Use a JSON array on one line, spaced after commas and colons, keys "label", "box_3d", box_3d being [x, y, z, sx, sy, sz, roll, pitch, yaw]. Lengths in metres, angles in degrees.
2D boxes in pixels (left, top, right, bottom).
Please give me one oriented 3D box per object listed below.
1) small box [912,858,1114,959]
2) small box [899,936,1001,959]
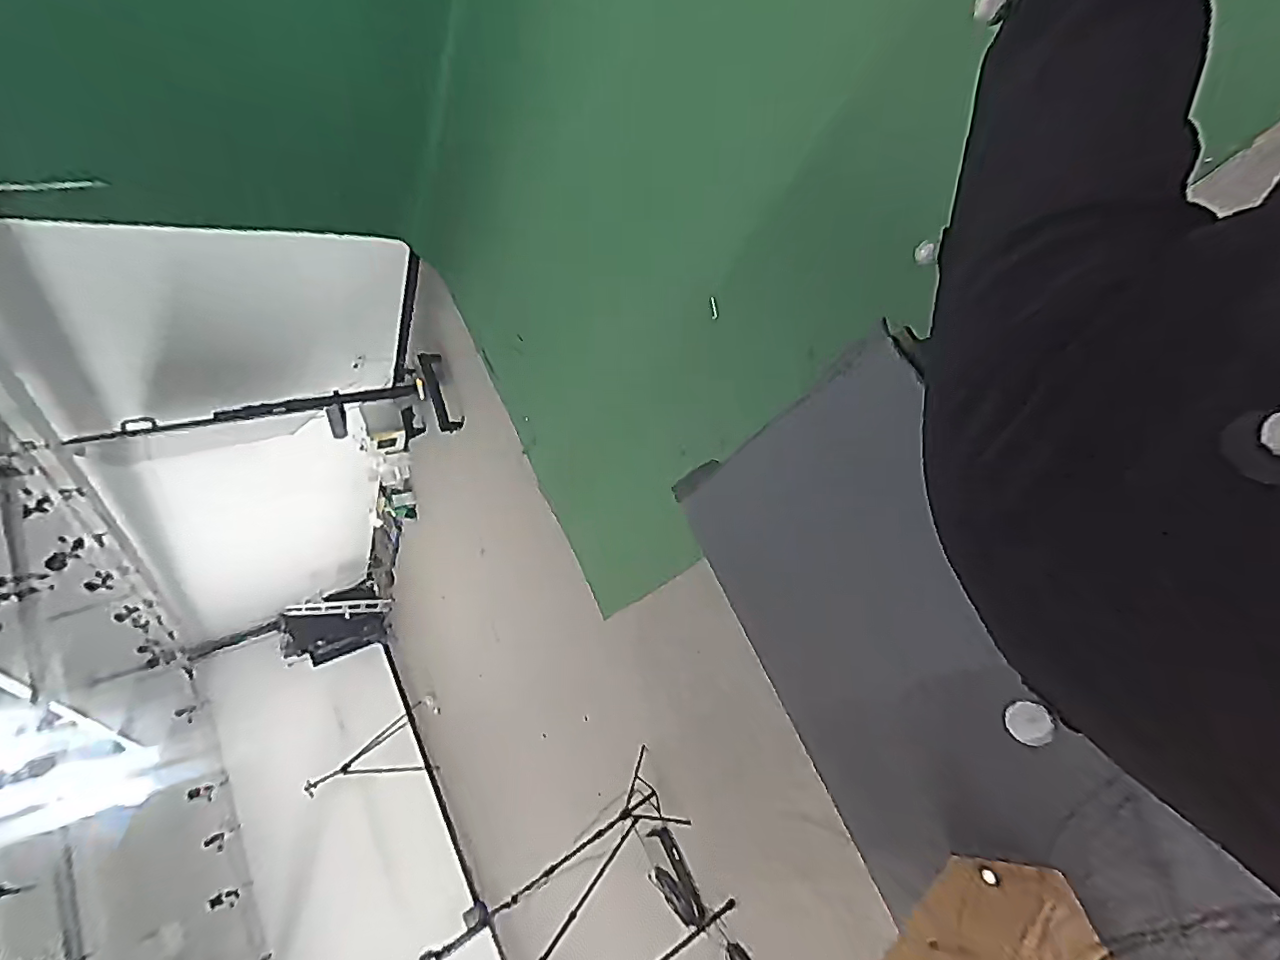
[{"label": "small box", "box_3d": [0.519, 0.660, 0.730, 0.168, 0.176, 0.179, -41, 69, 50]}, {"label": "small box", "box_3d": [0.392, 0.687, 0.627, 0.168, 0.176, 0.179, -44, 67, 50]}]
